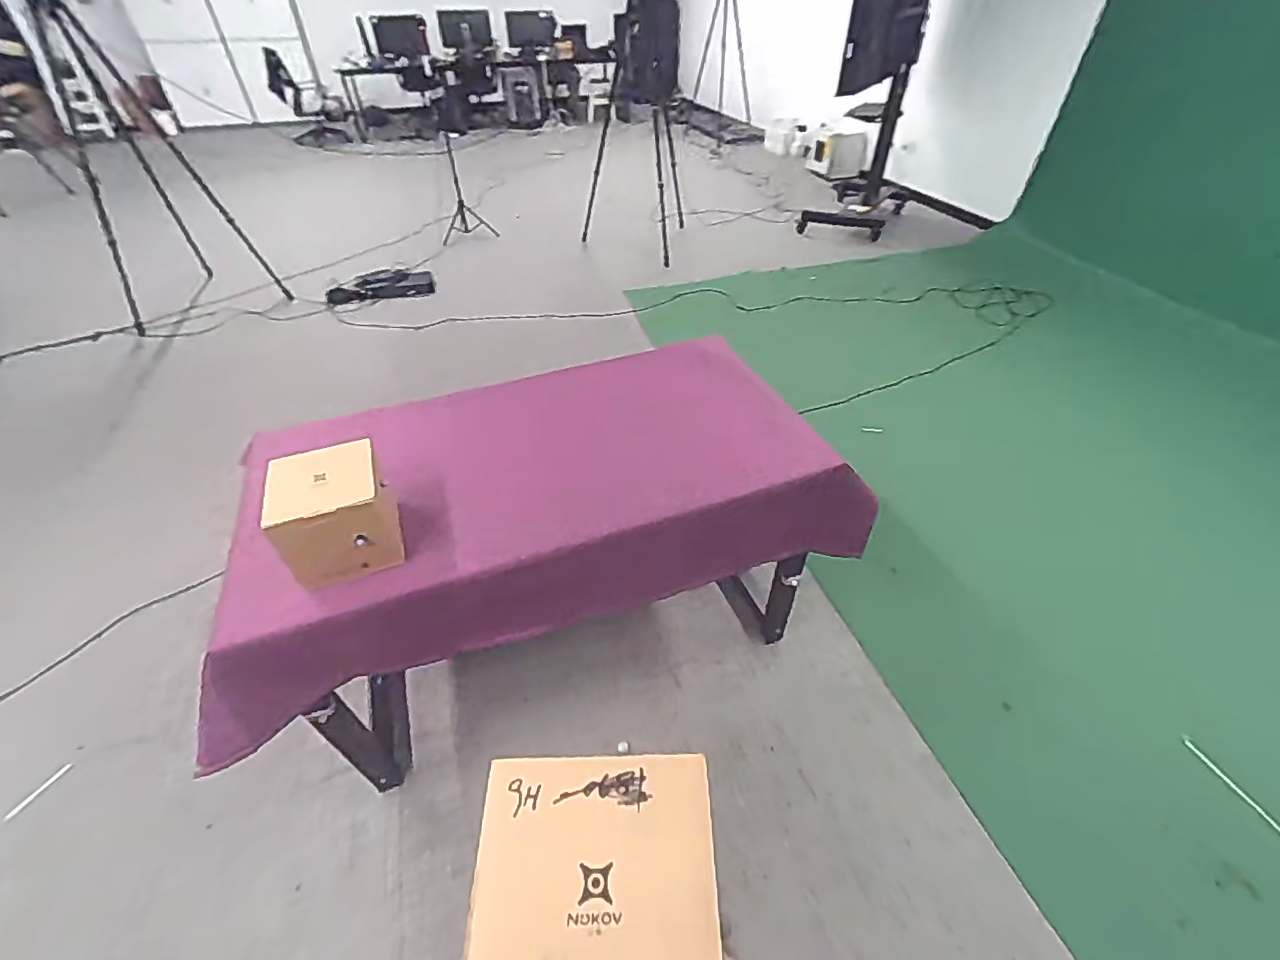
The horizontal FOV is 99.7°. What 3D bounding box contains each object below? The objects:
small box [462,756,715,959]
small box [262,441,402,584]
[{"bbox_3d":[-0.030,0.330,0.426,0.168,0.176,0.179,-1,52,0],"label":"small box"},{"bbox_3d":[-0.532,0.061,0.955,0.168,0.176,0.179,-15,44,-17],"label":"small box"}]
